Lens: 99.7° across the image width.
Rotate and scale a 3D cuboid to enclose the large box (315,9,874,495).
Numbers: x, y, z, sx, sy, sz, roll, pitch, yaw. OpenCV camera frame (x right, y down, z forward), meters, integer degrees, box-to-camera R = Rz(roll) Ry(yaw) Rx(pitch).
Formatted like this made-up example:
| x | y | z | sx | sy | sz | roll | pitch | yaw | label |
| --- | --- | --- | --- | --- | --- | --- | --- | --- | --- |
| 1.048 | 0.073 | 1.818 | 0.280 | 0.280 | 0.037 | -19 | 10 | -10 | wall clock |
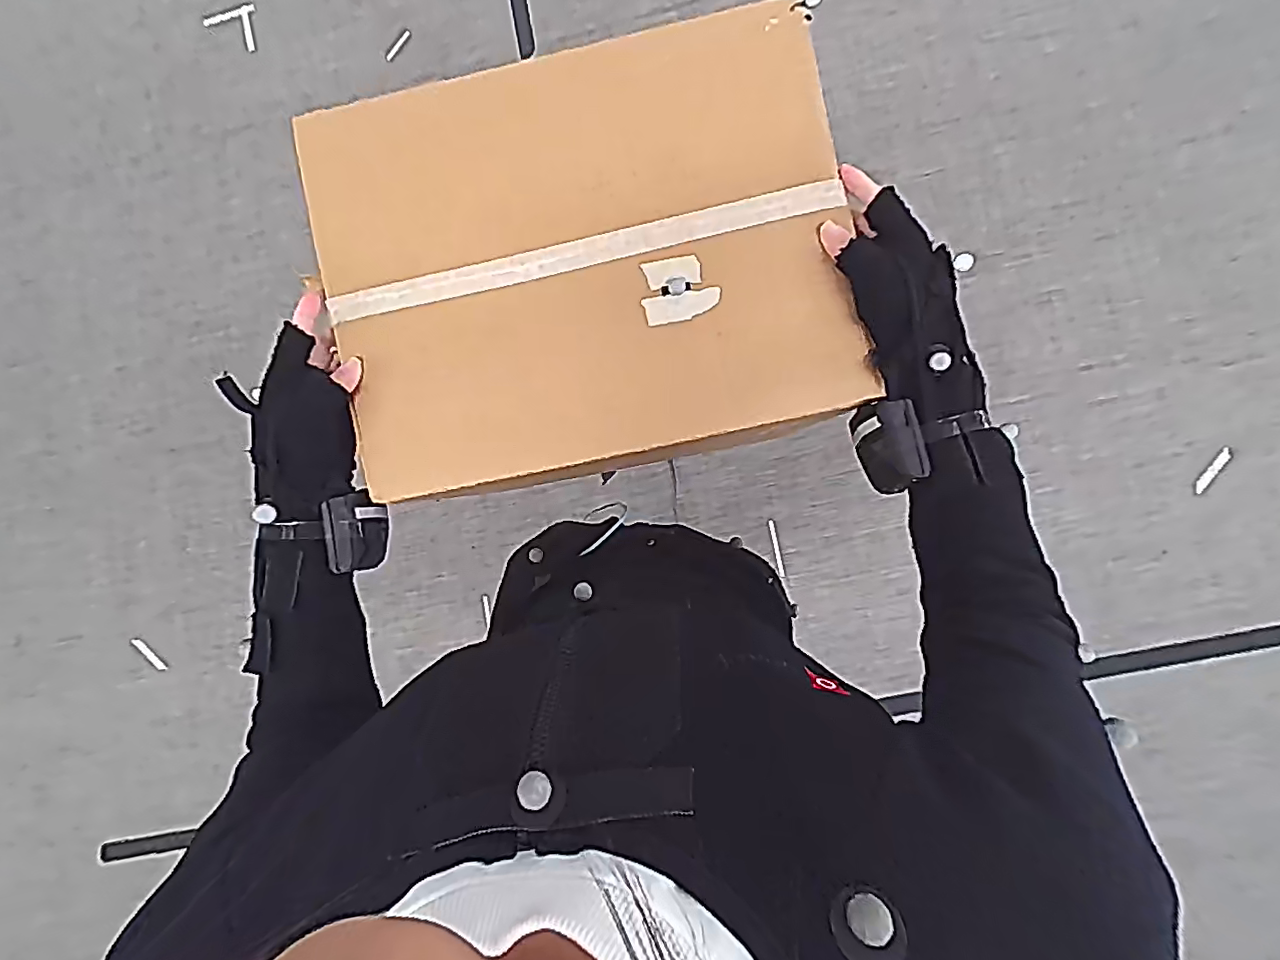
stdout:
| x | y | z | sx | sy | sz | roll | pitch | yaw | label |
| --- | --- | --- | --- | --- | --- | --- | --- | --- | --- |
| -0.037 | -0.178 | 0.578 | 0.408 | 0.320 | 0.320 | -12 | 90 | 2 | large box |
